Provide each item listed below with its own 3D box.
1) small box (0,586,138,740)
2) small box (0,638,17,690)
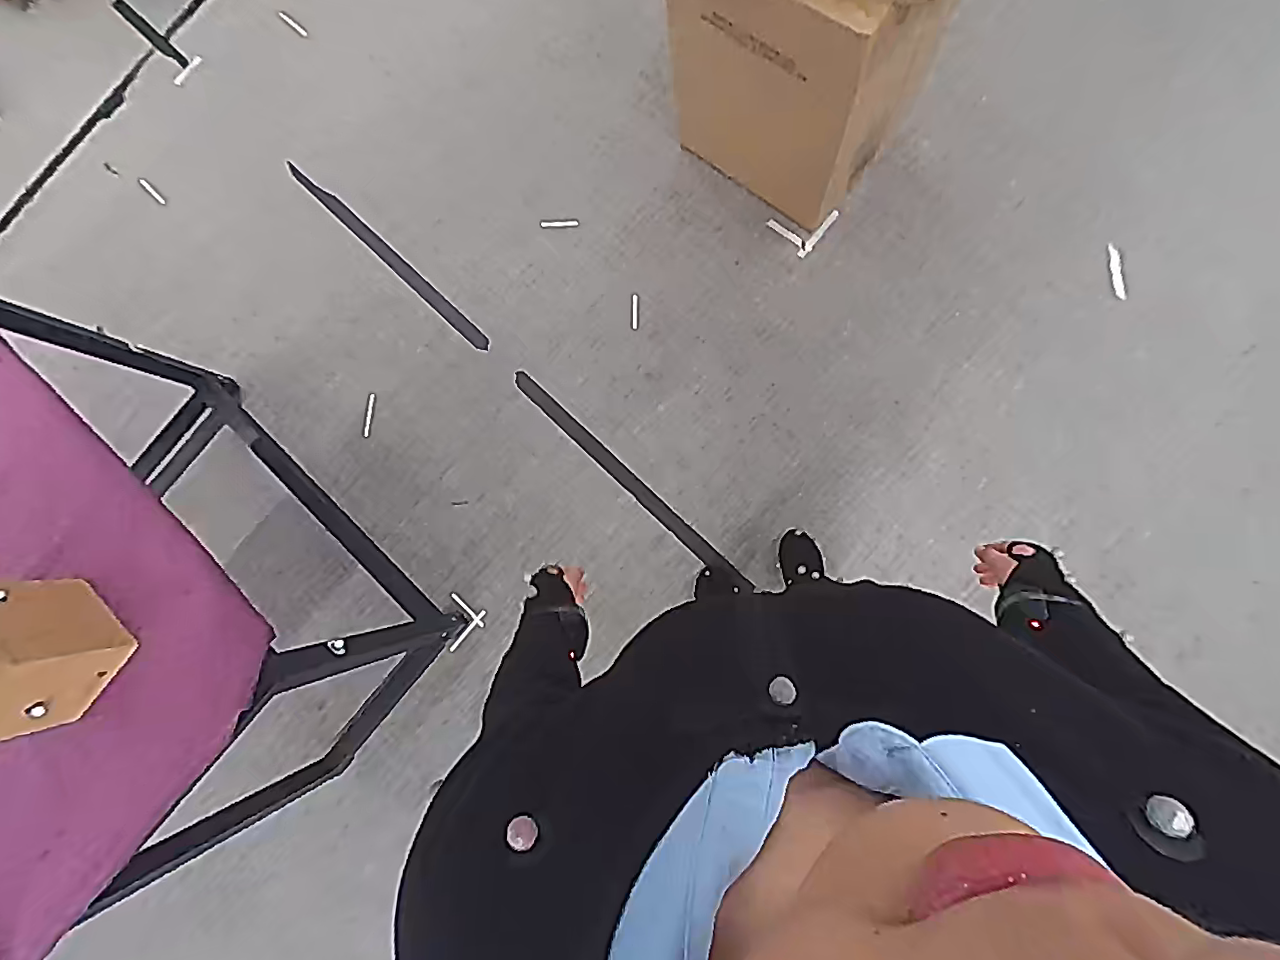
[{"bbox_3d":[-0.961,0.279,0.847,0.179,0.176,0.168,38,89,12],"label":"small box"},{"bbox_3d":[-0.984,0.252,0.686,0.179,0.176,0.168,38,90,11],"label":"small box"}]
